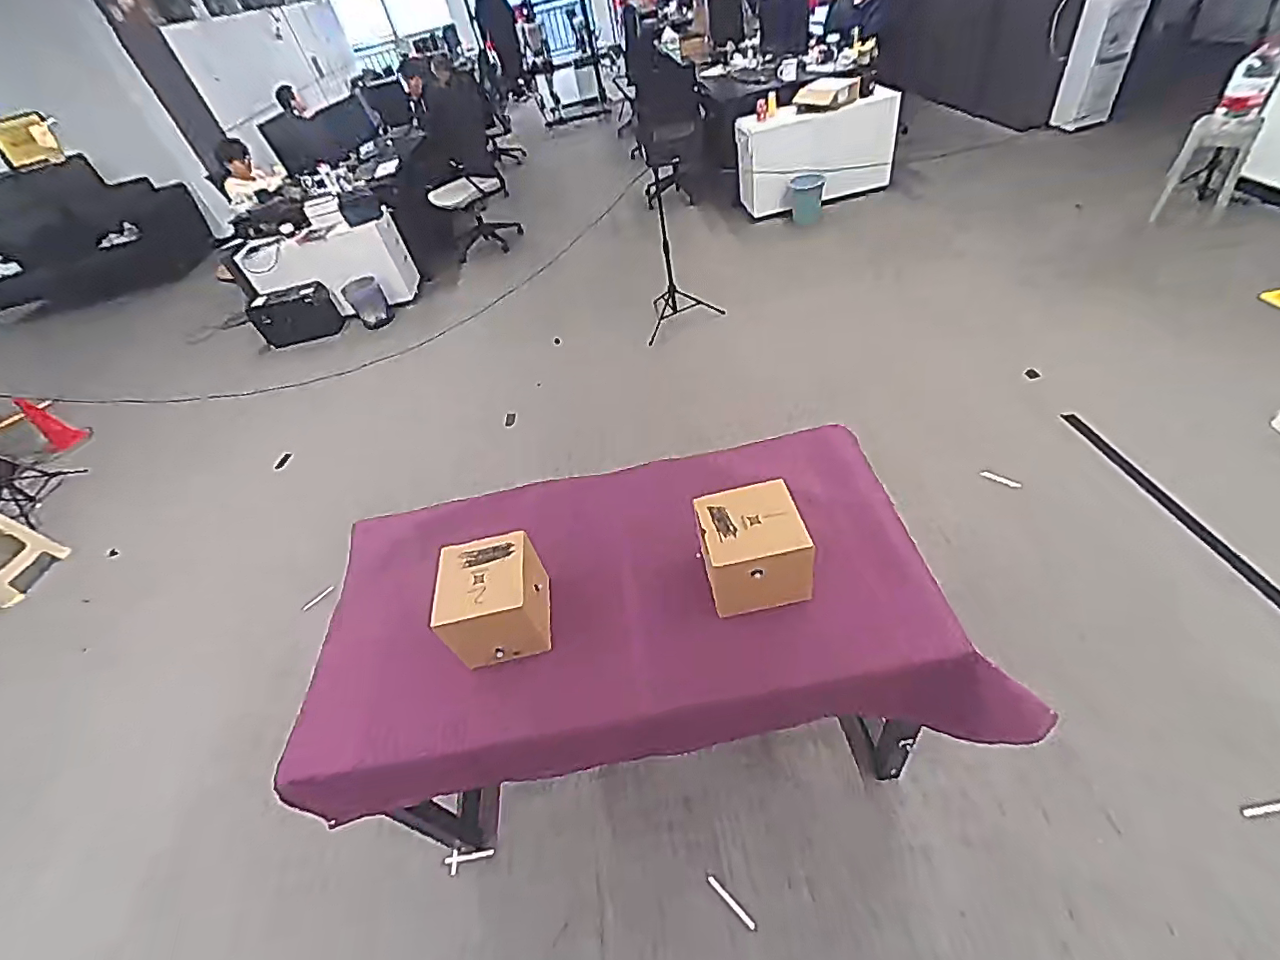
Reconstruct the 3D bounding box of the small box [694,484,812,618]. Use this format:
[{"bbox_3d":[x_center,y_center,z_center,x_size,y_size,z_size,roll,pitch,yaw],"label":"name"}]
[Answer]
[{"bbox_3d":[0.209,0.137,1.010,0.179,0.176,0.168,-12,44,2],"label":"small box"}]
